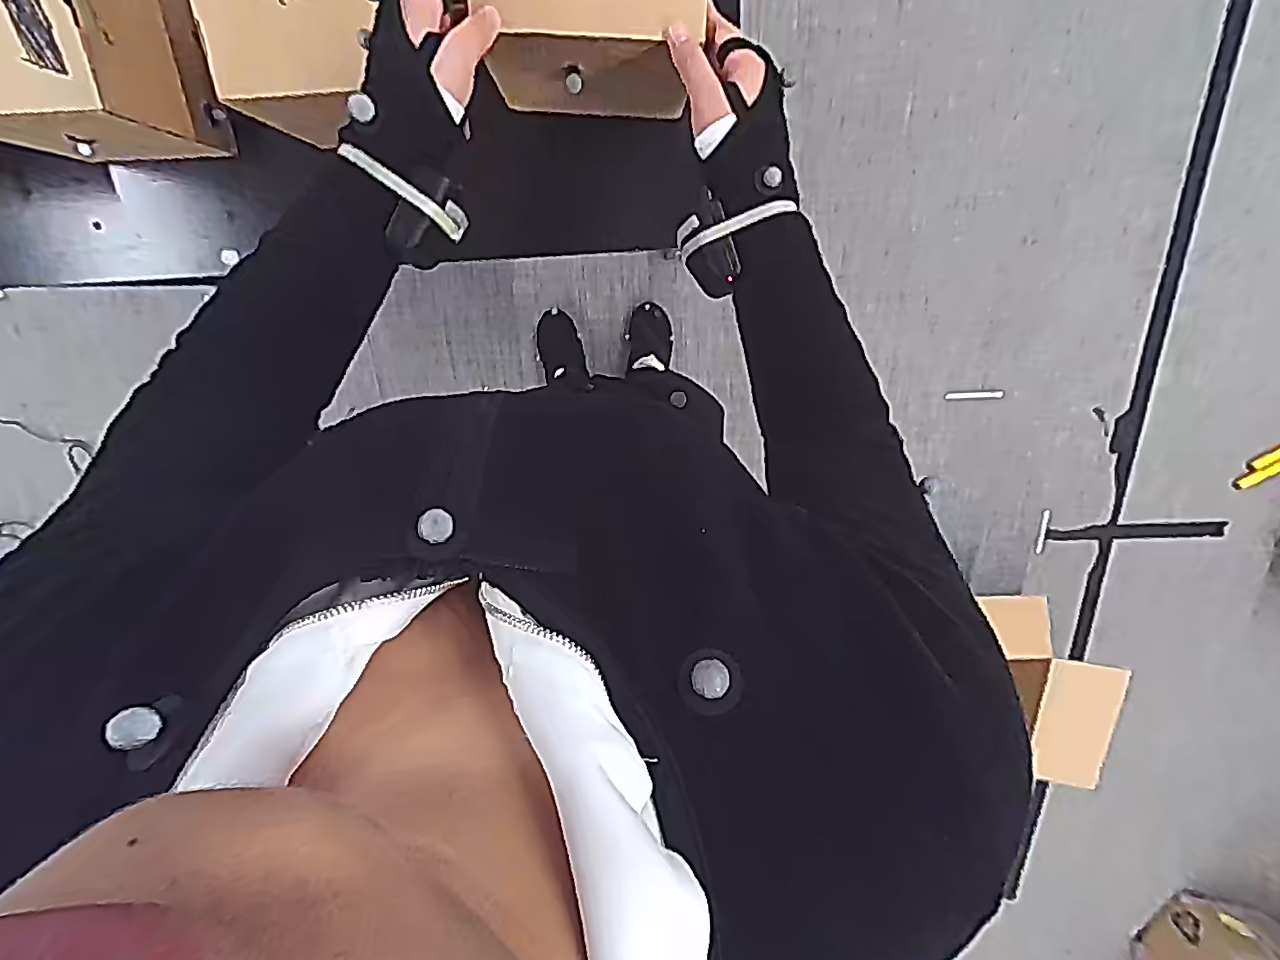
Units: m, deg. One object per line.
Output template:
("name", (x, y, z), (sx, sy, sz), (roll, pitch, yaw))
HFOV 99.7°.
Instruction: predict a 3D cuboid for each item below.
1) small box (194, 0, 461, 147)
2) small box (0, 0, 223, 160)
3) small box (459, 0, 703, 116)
("small box", (-0.285, -0.438, 0.521), (0.179, 0.176, 0.168), (-3, 108, 1))
("small box", (-0.555, -0.425, 0.527), (0.179, 0.176, 0.168), (-2, 109, 2))
("small box", (-0.041, -0.422, 0.444), (0.179, 0.176, 0.168), (1, 107, -2))
